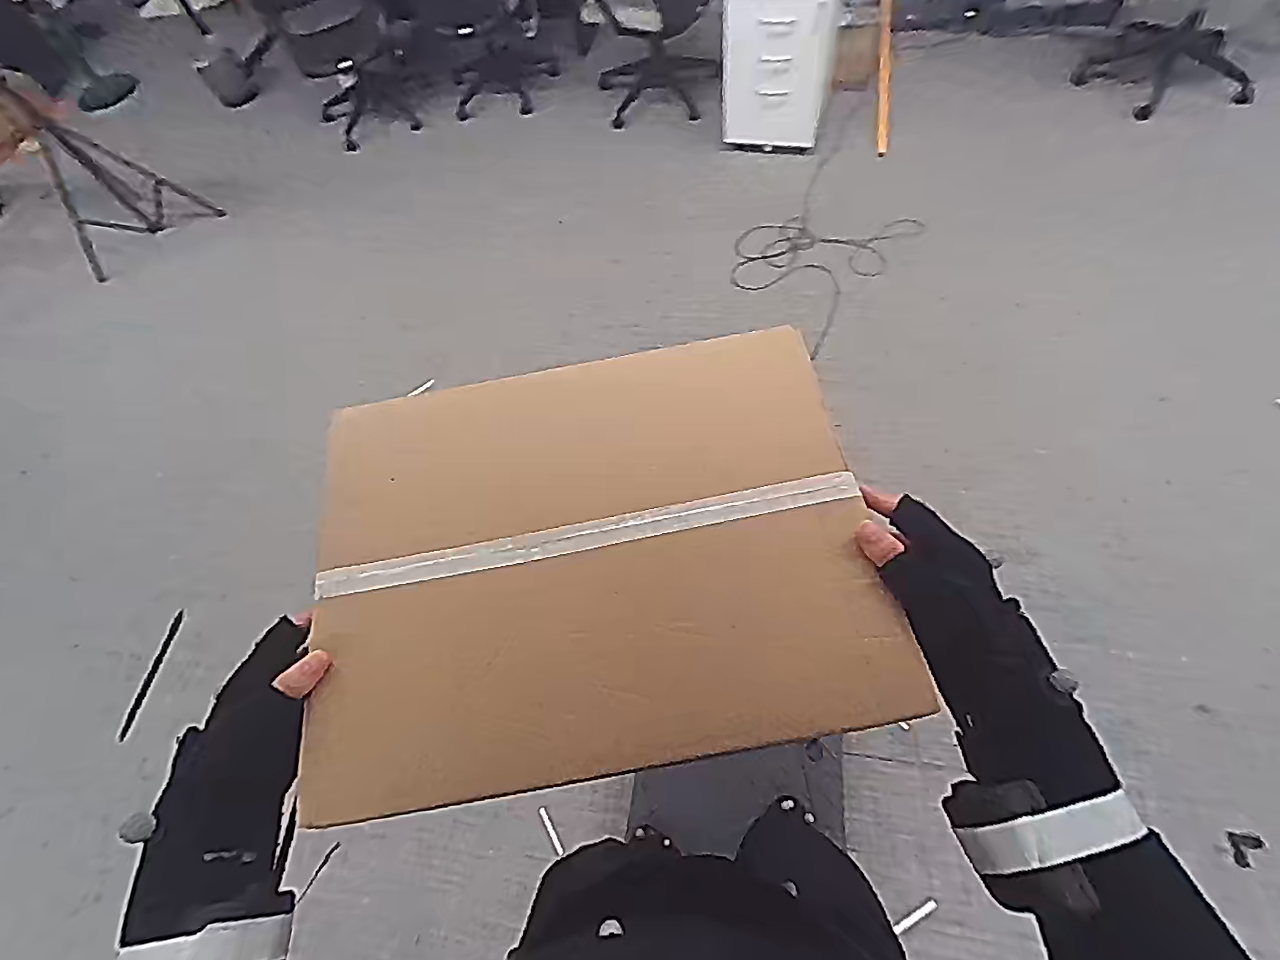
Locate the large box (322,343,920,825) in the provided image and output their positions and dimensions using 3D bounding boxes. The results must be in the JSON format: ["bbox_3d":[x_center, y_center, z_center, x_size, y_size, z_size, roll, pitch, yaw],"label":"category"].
[{"bbox_3d":[-0.023,0.110,0.545,0.408,0.320,0.320,-10,64,0],"label":"large box"}]
